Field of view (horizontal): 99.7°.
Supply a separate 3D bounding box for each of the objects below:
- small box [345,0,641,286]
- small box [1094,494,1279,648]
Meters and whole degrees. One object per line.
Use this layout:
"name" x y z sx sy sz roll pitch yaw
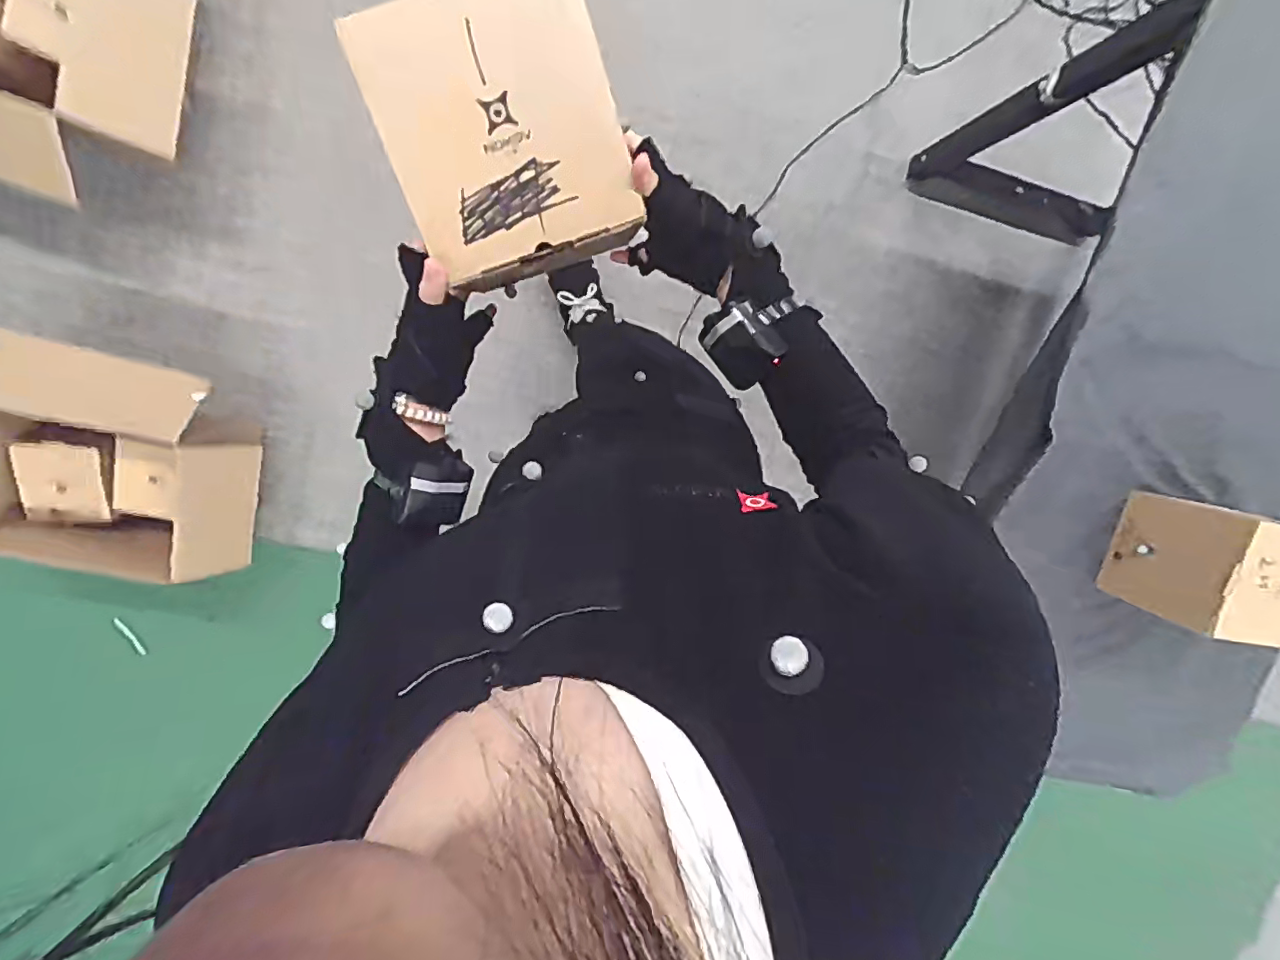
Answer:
"small box" -0.105 -0.278 0.466 0.168 0.176 0.179 -19 108 0
"small box" 0.842 0.127 0.797 0.179 0.176 0.168 10 101 -8
